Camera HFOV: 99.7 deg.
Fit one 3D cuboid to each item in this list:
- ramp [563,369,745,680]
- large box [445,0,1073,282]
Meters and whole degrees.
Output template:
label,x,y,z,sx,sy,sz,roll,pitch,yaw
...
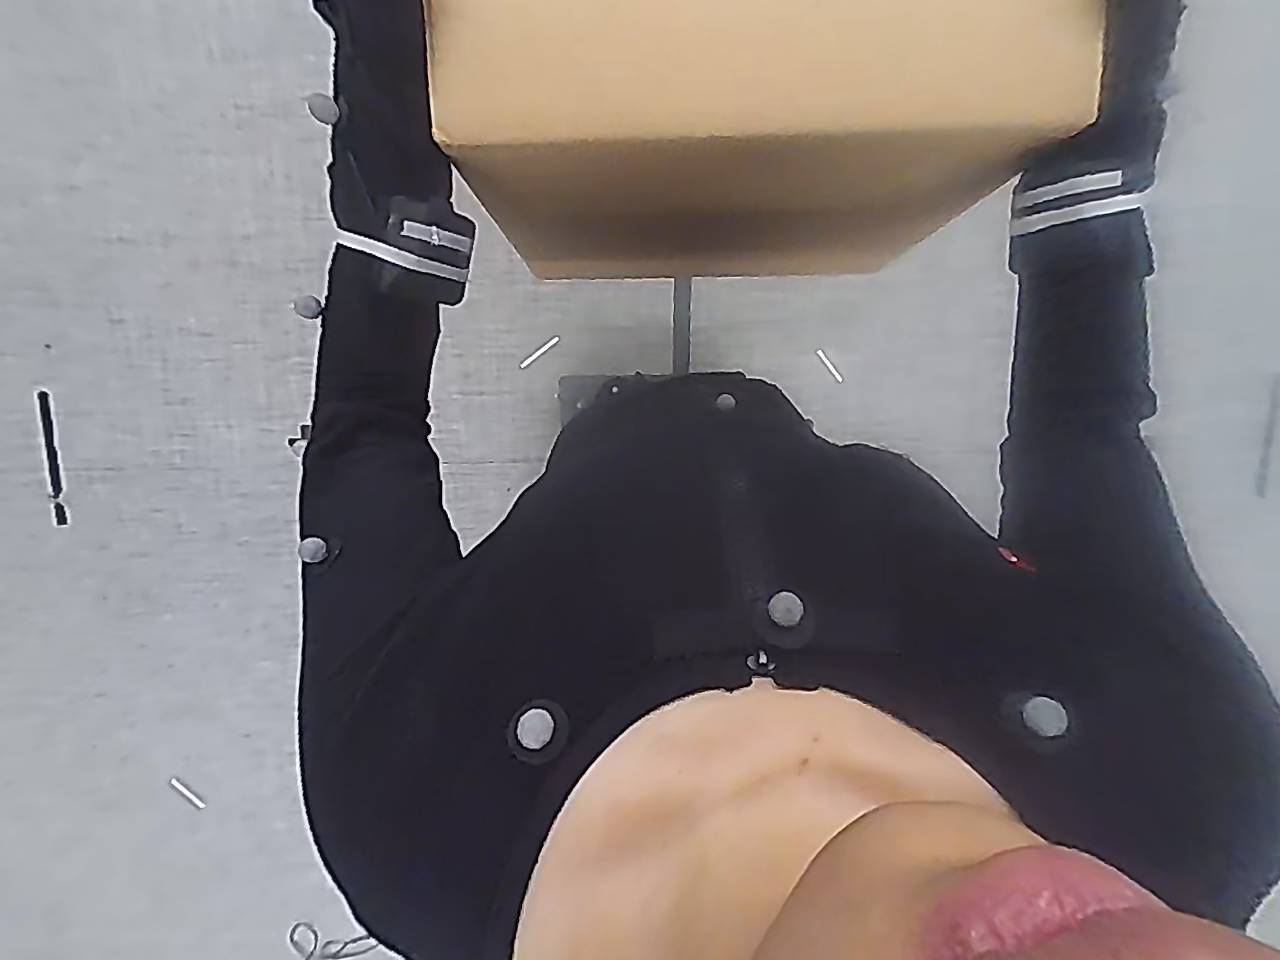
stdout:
label,x,y,z,sx,sy,sz,roll,pitch,yaw
ramp,0.045,0.176,1.601,0.509,0.206,0.991,-3,100,-2
large box,0.071,-0.384,0.486,0.408,0.320,0.320,-1,95,1
